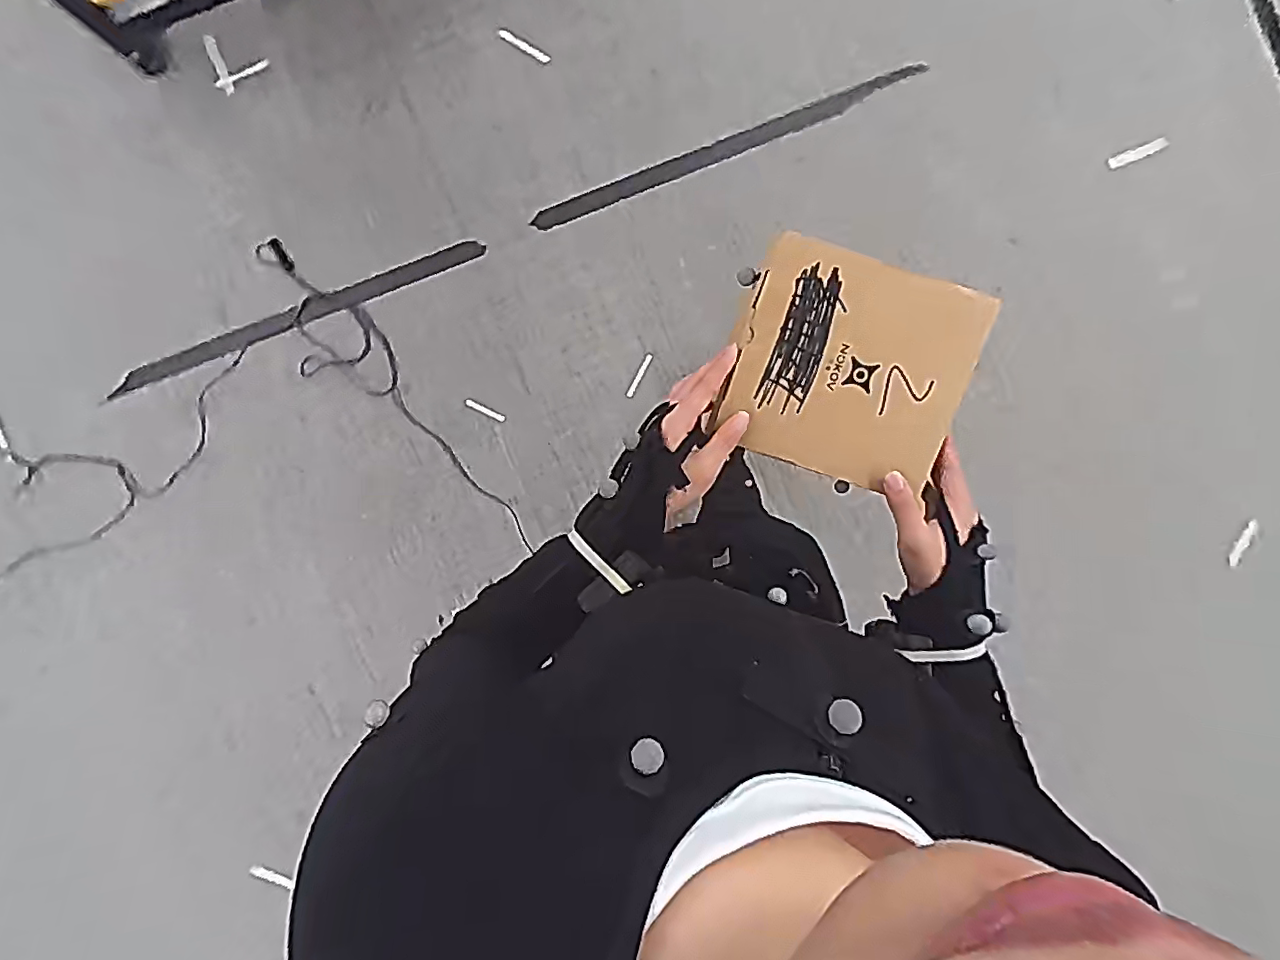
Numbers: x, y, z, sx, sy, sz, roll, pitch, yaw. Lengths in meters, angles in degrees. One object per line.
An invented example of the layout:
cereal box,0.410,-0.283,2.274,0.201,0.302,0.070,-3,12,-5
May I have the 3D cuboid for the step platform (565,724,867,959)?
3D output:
step platform,0.171,0.857,1.285,0.684,0.204,0.286,-22,92,-1
